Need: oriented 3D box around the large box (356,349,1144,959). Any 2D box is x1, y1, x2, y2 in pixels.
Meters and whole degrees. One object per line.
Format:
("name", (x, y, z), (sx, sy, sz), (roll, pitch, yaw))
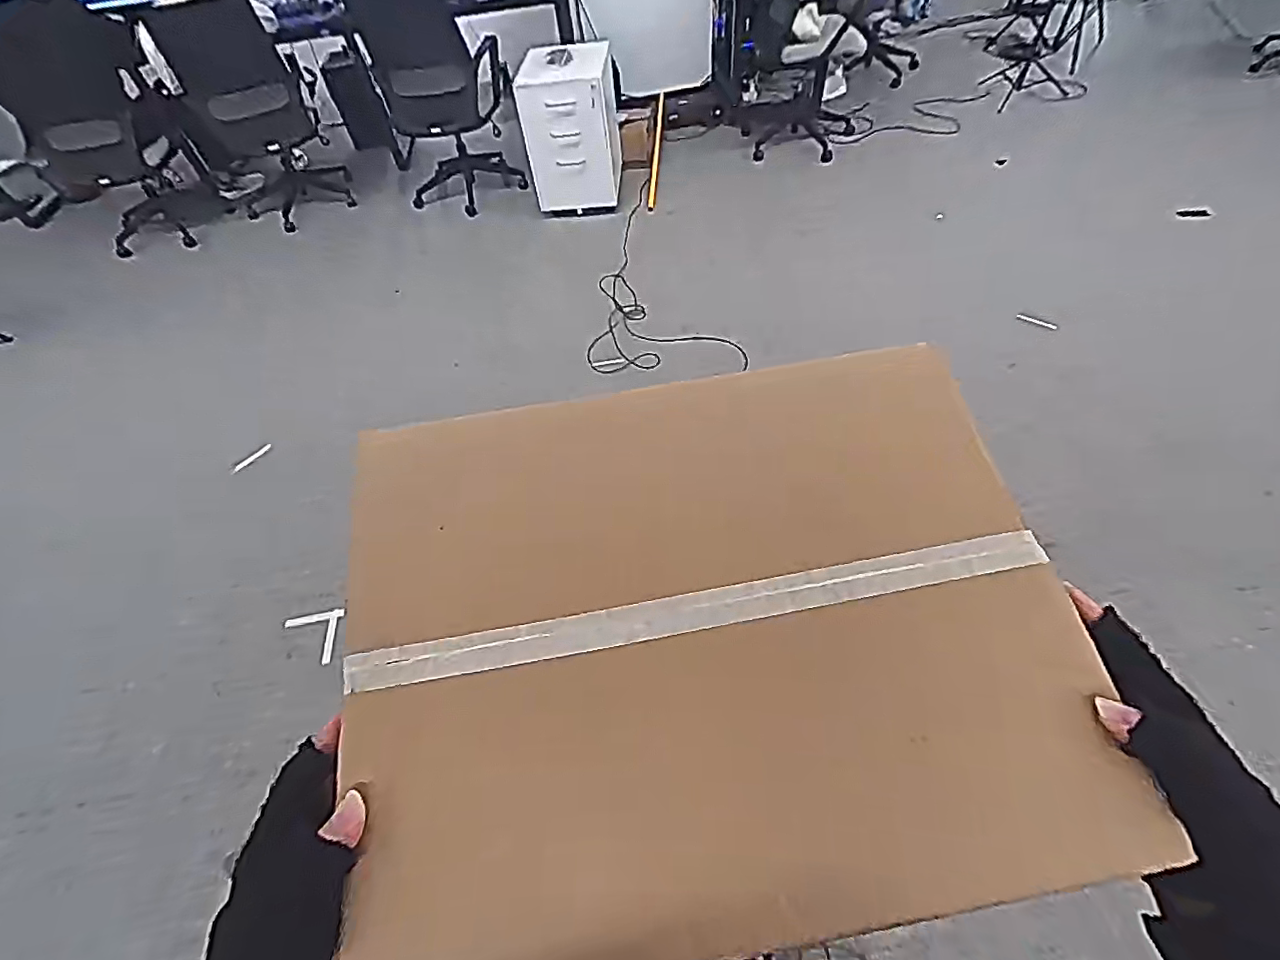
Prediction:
("large box", (0.041, 0.137, 0.457), (0.408, 0.320, 0.320), (-10, 65, -2))
